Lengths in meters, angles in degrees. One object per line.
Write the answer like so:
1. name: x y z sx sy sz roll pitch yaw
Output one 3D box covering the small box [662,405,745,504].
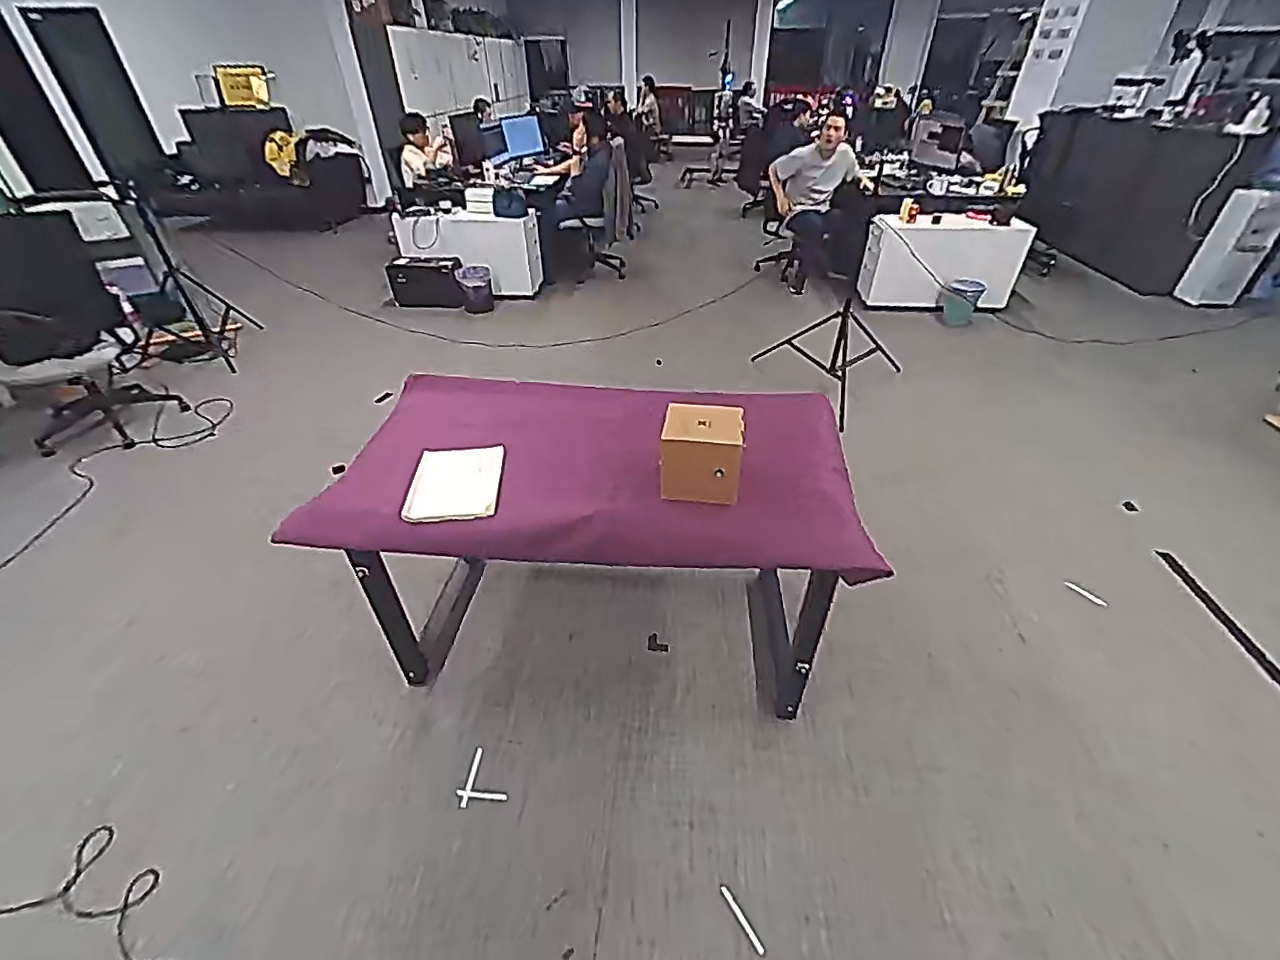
1. small box: 0.148 -0.058 1.255 0.179 0.176 0.168 3 35 8
